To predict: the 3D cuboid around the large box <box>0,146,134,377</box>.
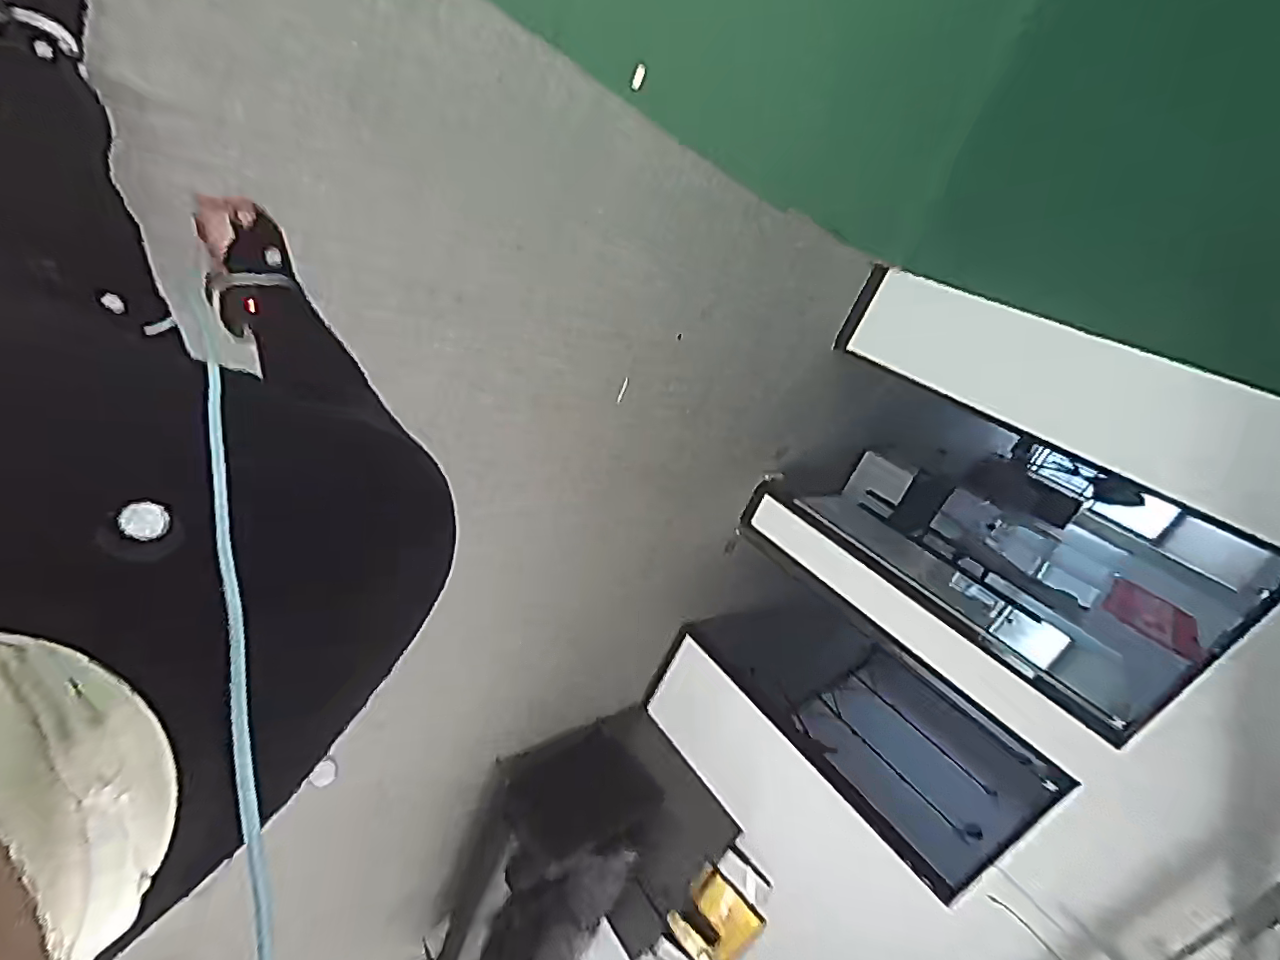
[{"bbox_3d":[-1.131,-0.387,0.899,0.408,0.320,0.320,-3,125,-45],"label":"large box"}]
